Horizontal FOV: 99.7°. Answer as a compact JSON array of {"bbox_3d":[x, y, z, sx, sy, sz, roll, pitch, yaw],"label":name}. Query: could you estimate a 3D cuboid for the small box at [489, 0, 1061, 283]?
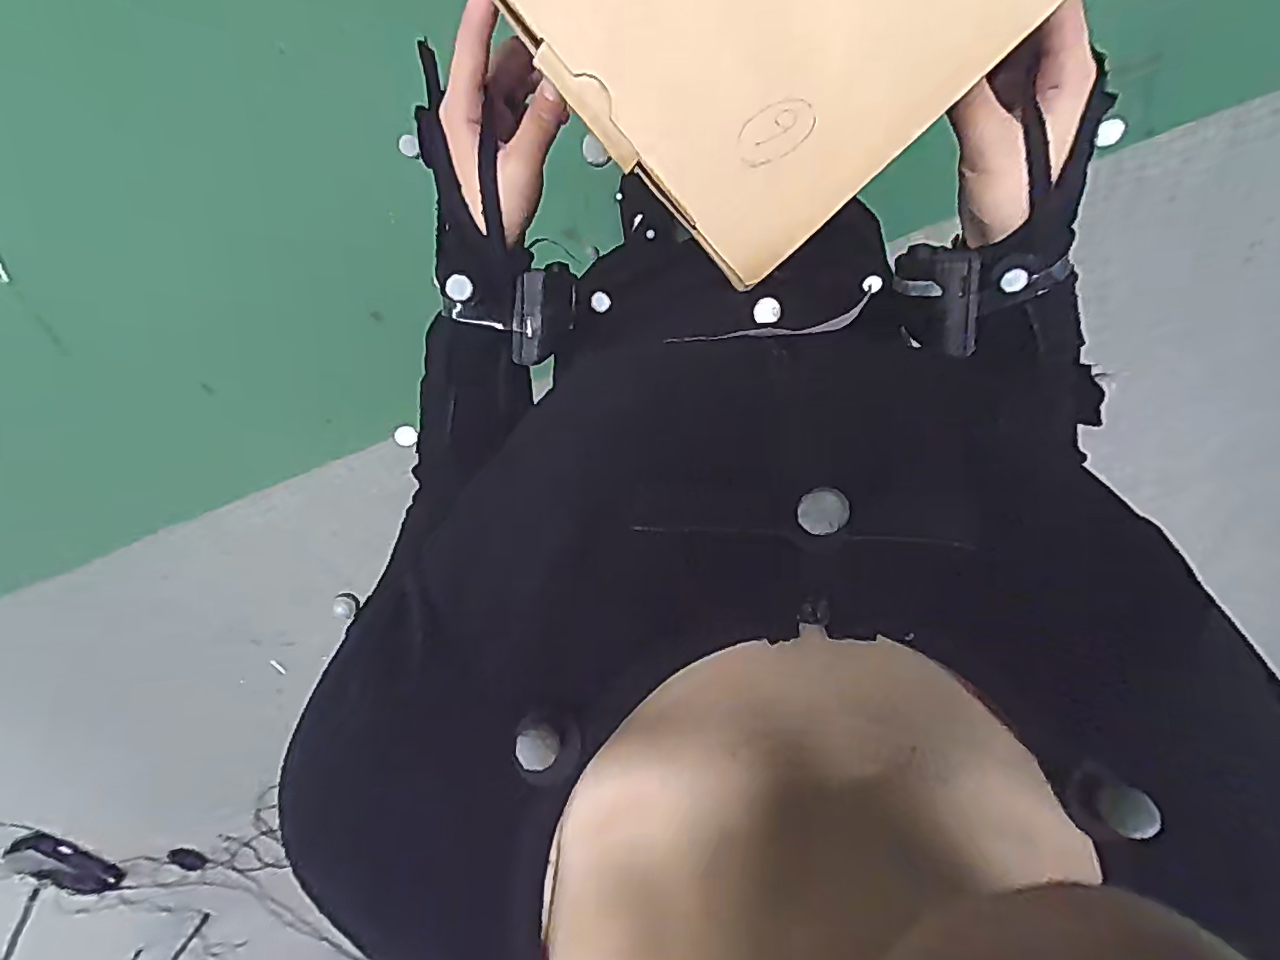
[{"bbox_3d":[0.050,-0.213,0.220,0.179,0.176,0.168,-39,109,22],"label":"small box"}]
